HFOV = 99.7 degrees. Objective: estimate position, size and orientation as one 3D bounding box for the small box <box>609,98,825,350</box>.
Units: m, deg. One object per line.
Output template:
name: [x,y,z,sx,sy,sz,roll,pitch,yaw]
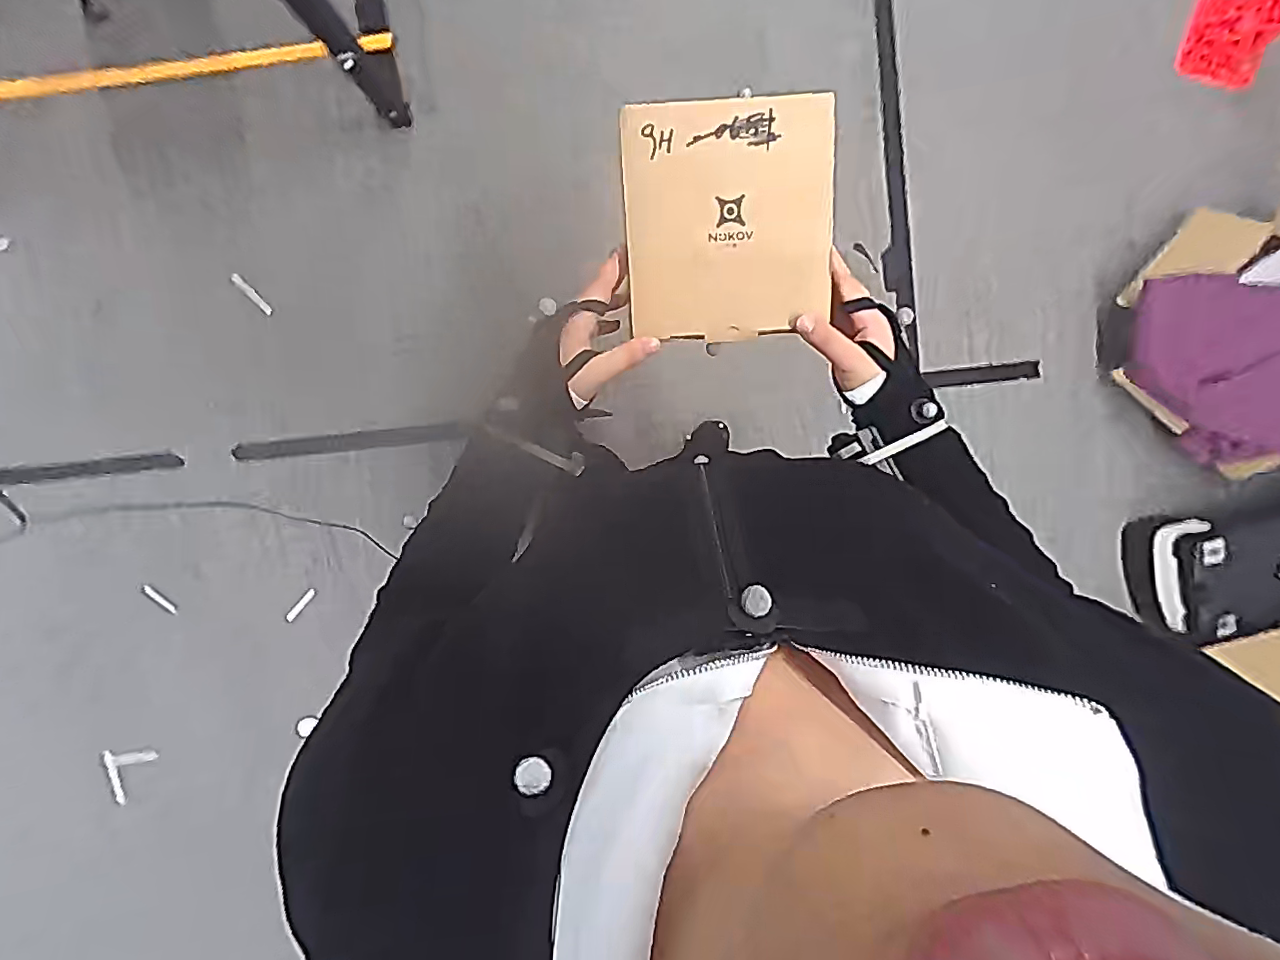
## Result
small box: [0.063,-0.221,0.506,0.168,0.176,0.179,-5,106,0]
